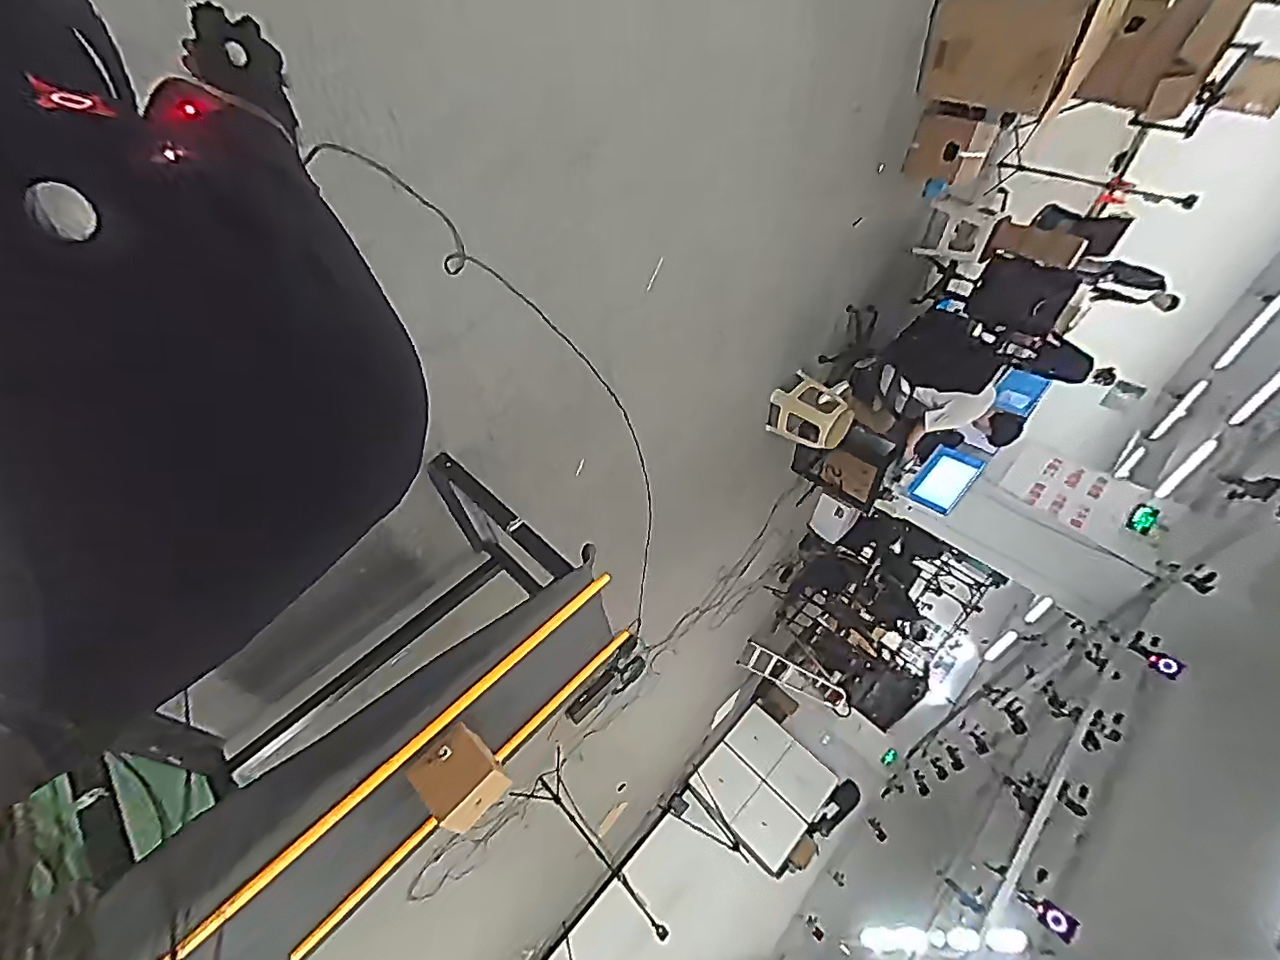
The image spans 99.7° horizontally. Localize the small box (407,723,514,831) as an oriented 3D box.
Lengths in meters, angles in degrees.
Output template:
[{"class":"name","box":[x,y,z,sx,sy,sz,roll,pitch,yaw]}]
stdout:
[{"class":"small box","box":[-0.459,0.760,1.392,0.168,0.176,0.179,-42,147,-23]}]
